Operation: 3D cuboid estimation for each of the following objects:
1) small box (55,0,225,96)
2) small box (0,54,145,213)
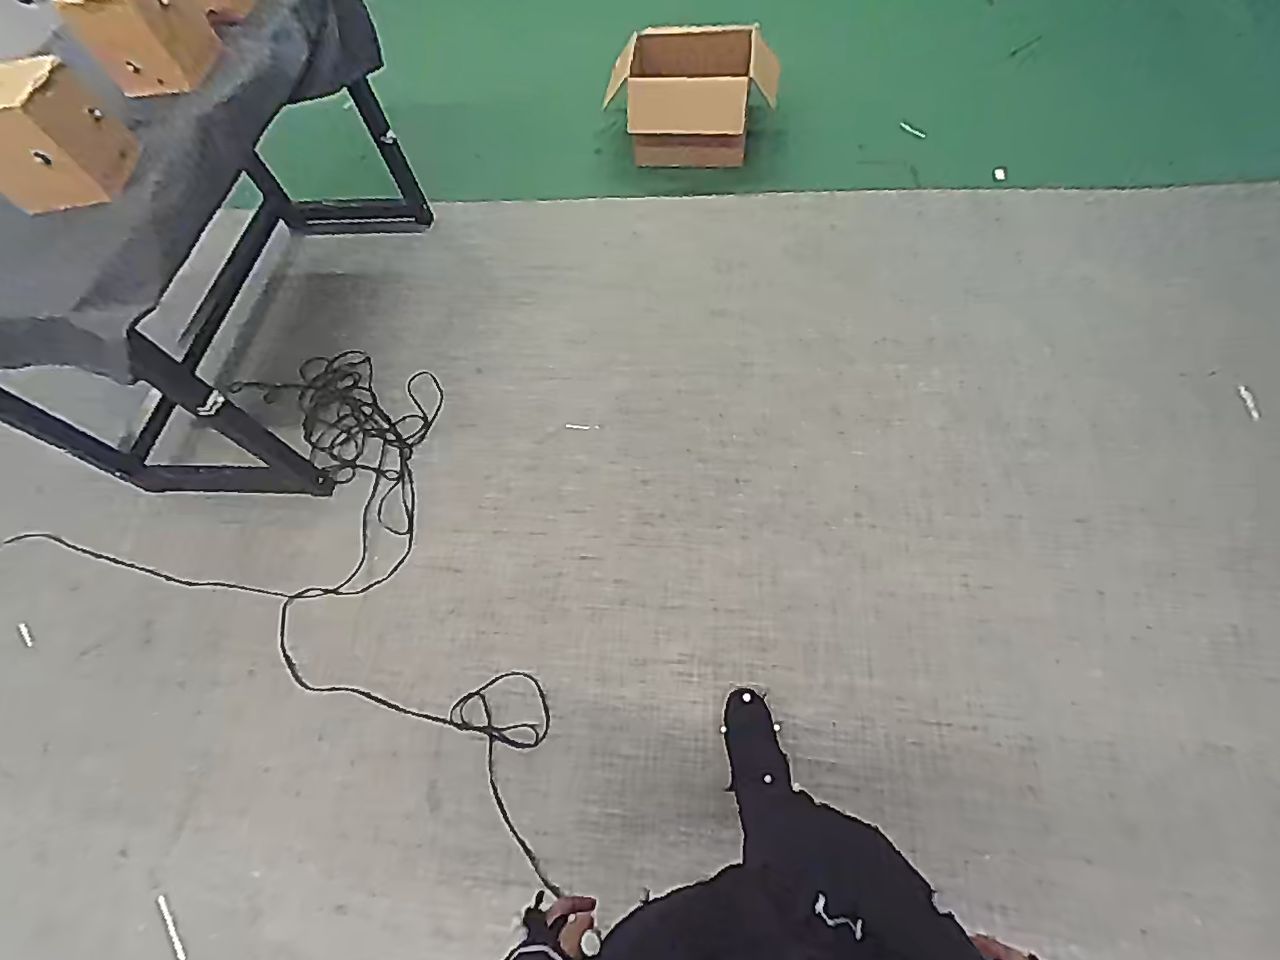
[{"bbox_3d":[-1.023,-0.941,1.128,0.168,0.176,0.179,-1,64,5],"label":"small box"},{"bbox_3d":[-1.051,-0.608,0.960,0.179,0.176,0.168,-8,61,3],"label":"small box"}]
